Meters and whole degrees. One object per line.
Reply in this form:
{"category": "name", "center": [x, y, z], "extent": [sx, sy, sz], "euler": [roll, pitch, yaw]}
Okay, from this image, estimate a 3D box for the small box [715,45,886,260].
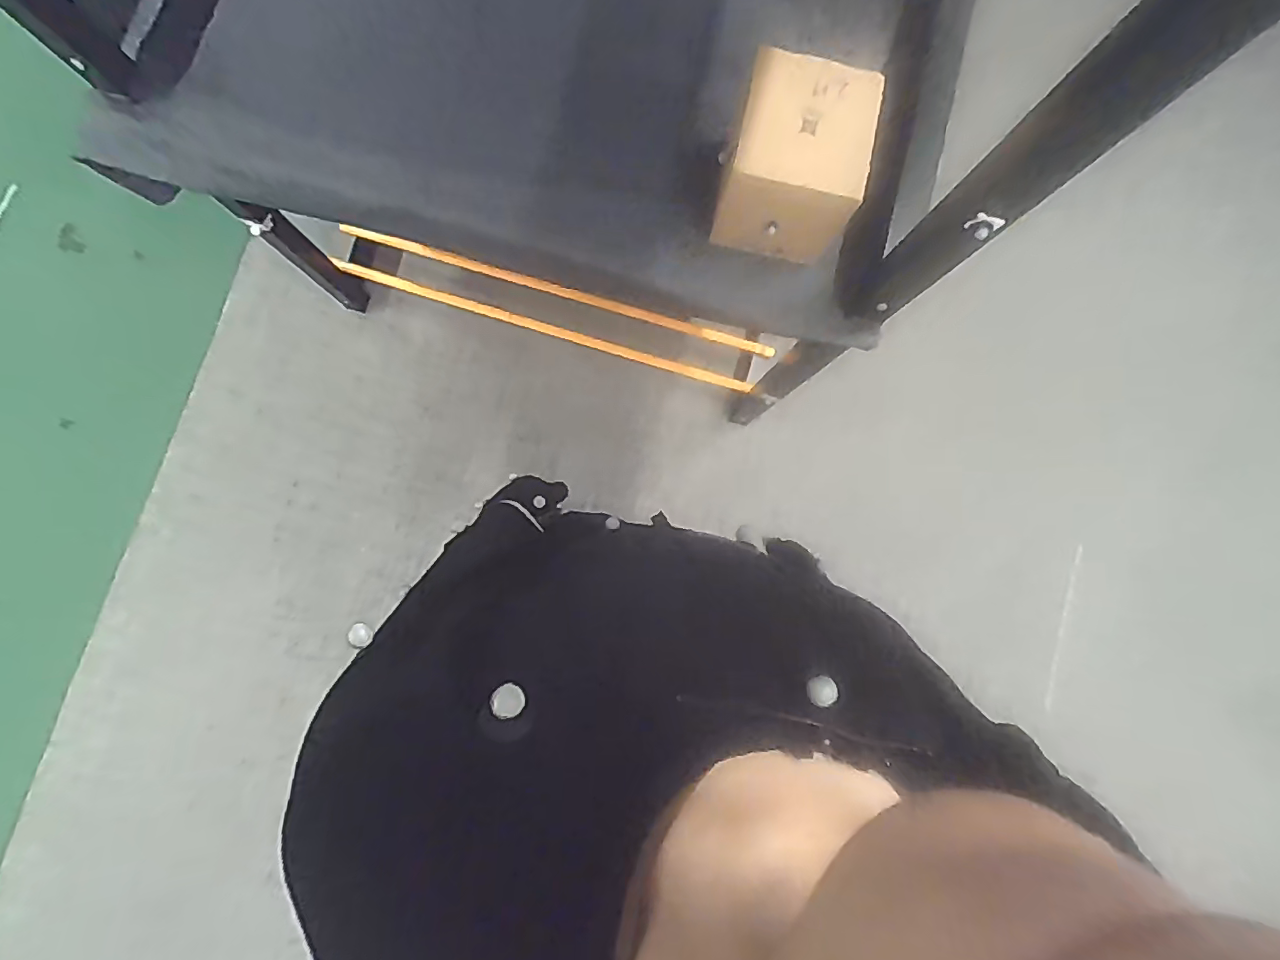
{"category": "small box", "center": [0.208, -0.434, 0.747], "extent": [0.168, 0.176, 0.179], "euler": [12, 84, -2]}
